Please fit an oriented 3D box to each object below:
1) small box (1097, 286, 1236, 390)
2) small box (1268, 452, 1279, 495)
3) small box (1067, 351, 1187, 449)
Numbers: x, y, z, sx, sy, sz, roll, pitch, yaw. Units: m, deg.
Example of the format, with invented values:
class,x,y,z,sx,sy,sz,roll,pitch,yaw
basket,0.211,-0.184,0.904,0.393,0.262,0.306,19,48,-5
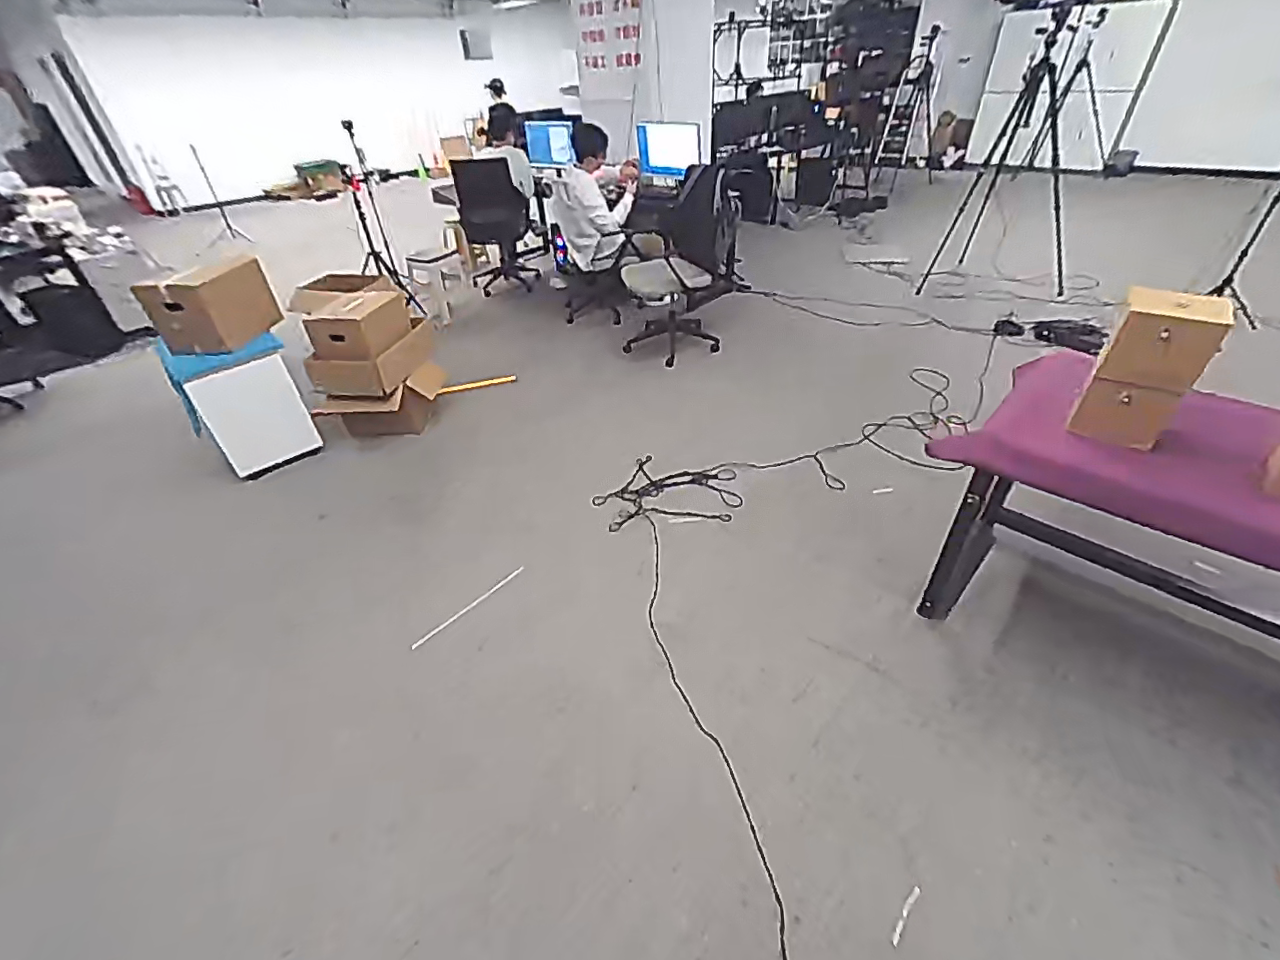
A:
class,x,y,z,sx,sy,sz,roll,pitch,yaw
small box,1.198,-0.323,1.238,0.179,0.176,0.168,23,46,31
small box,1.466,-0.044,1.117,0.179,0.176,0.168,-32,45,-31
small box,1.206,-0.199,1.343,0.179,0.176,0.168,25,47,32
